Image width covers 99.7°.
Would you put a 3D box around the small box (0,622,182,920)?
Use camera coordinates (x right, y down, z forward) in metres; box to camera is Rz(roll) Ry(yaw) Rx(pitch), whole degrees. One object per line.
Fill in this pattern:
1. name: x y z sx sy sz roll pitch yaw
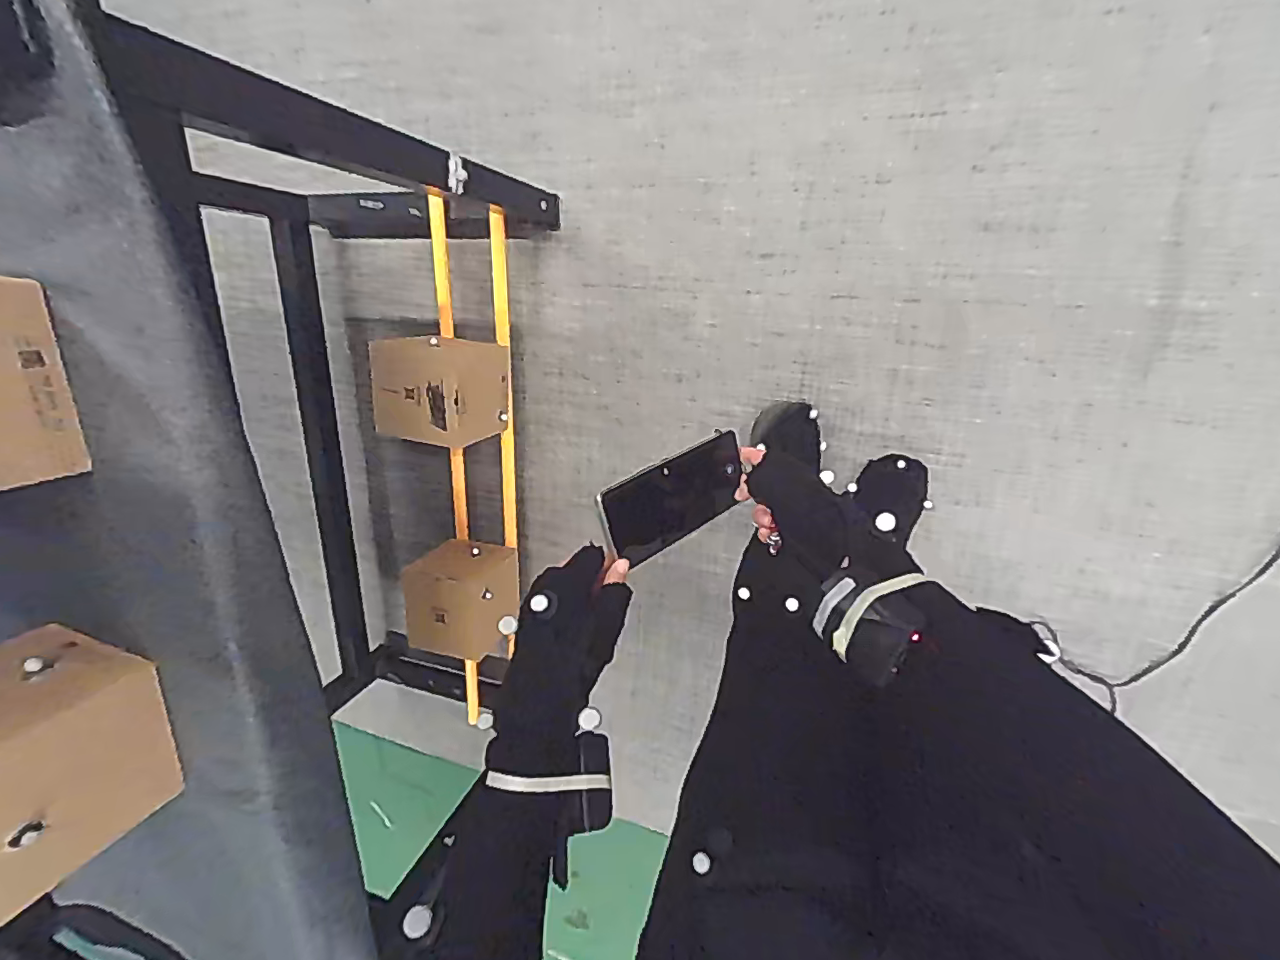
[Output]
1. small box: -0.607 0.275 0.539 0.168 0.176 0.179 11 110 16

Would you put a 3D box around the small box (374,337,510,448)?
1. small box: -0.355 -0.170 0.999 0.179 0.176 0.168 11 110 15
